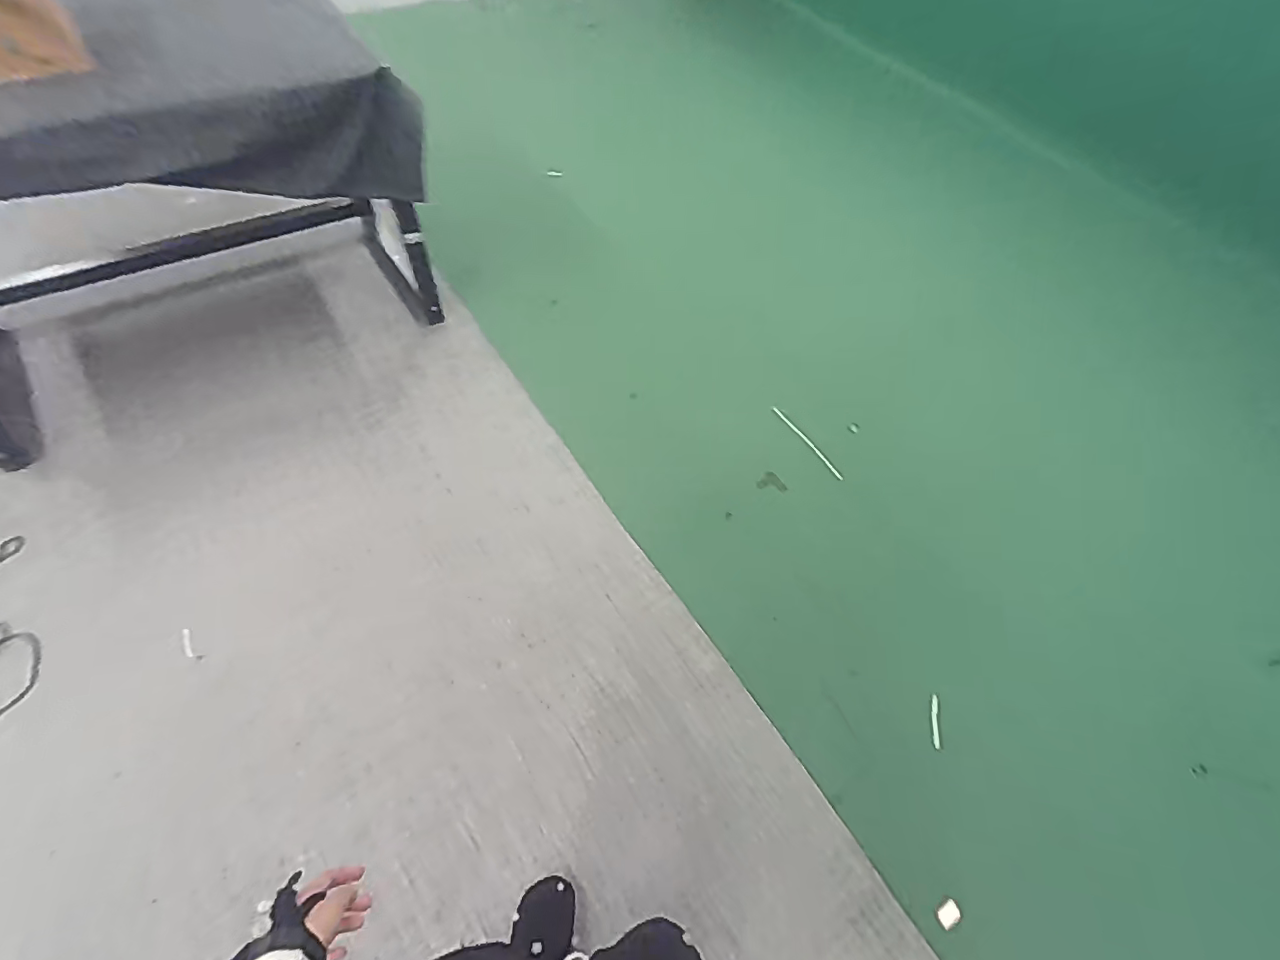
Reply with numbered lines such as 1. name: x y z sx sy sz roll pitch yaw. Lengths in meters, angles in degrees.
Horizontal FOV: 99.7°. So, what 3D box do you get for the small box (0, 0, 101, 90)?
1. small box: -1.170 -0.864 1.006 0.168 0.176 0.179 -29 66 -23
